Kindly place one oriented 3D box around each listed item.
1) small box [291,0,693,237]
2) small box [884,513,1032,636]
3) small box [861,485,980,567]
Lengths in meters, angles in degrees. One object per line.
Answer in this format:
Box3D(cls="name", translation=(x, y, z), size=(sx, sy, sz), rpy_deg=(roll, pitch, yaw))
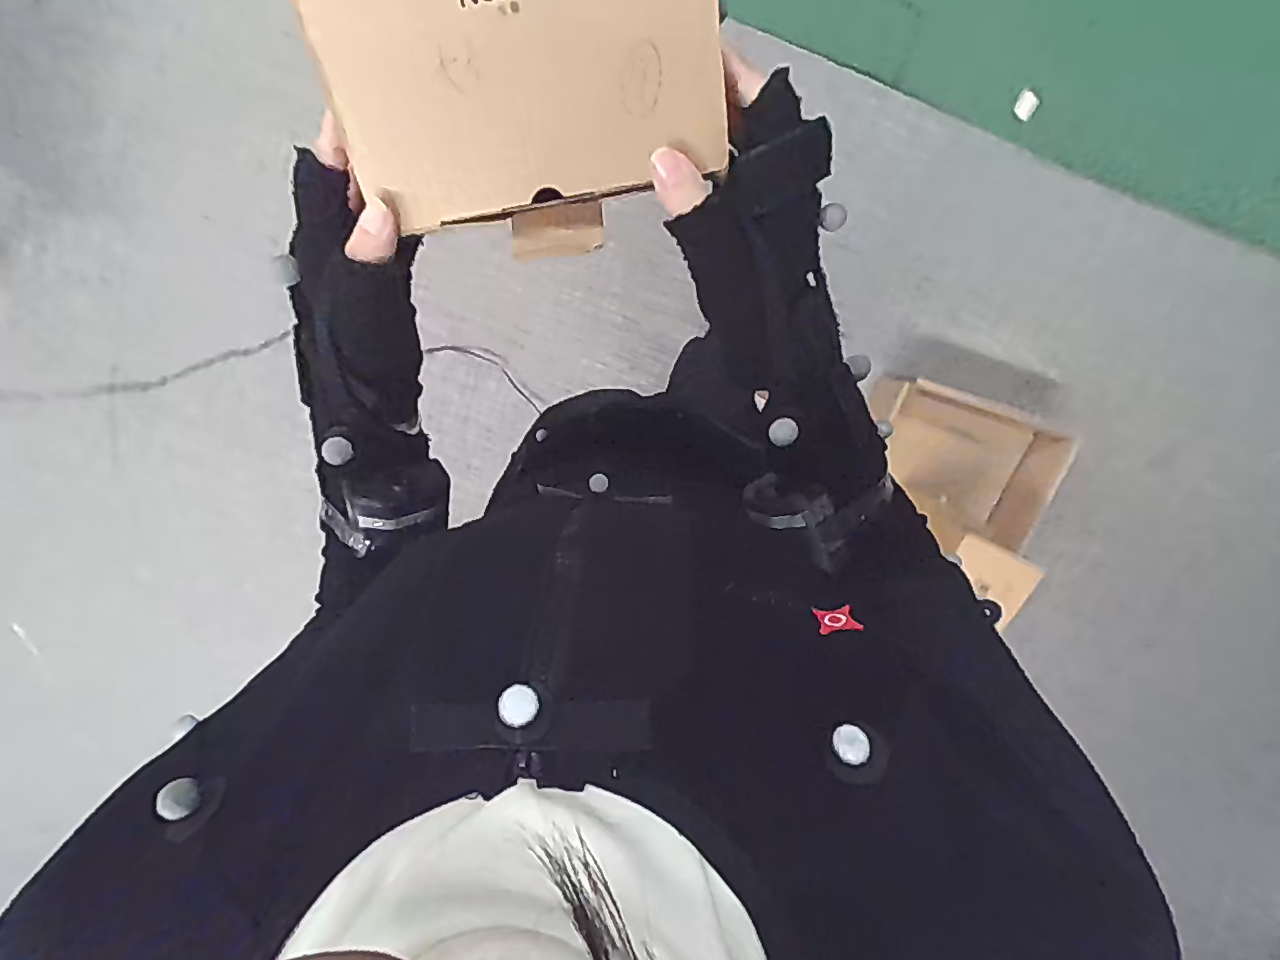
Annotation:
Box3D(cls="small box", translation=(-0.066, -0.253, 0.298), size=(0.168, 0.176, 0.179), rpy_deg=(-11, 118, 8))
Box3D(cls="small box", translation=(0.653, 0.188, 1.139), size=(0.179, 0.176, 0.168), rpy_deg=(26, 105, -5))
Box3D(cls="small box", translation=(0.663, 0.135, 1.309), size=(0.168, 0.176, 0.179), rpy_deg=(25, 102, -4))
